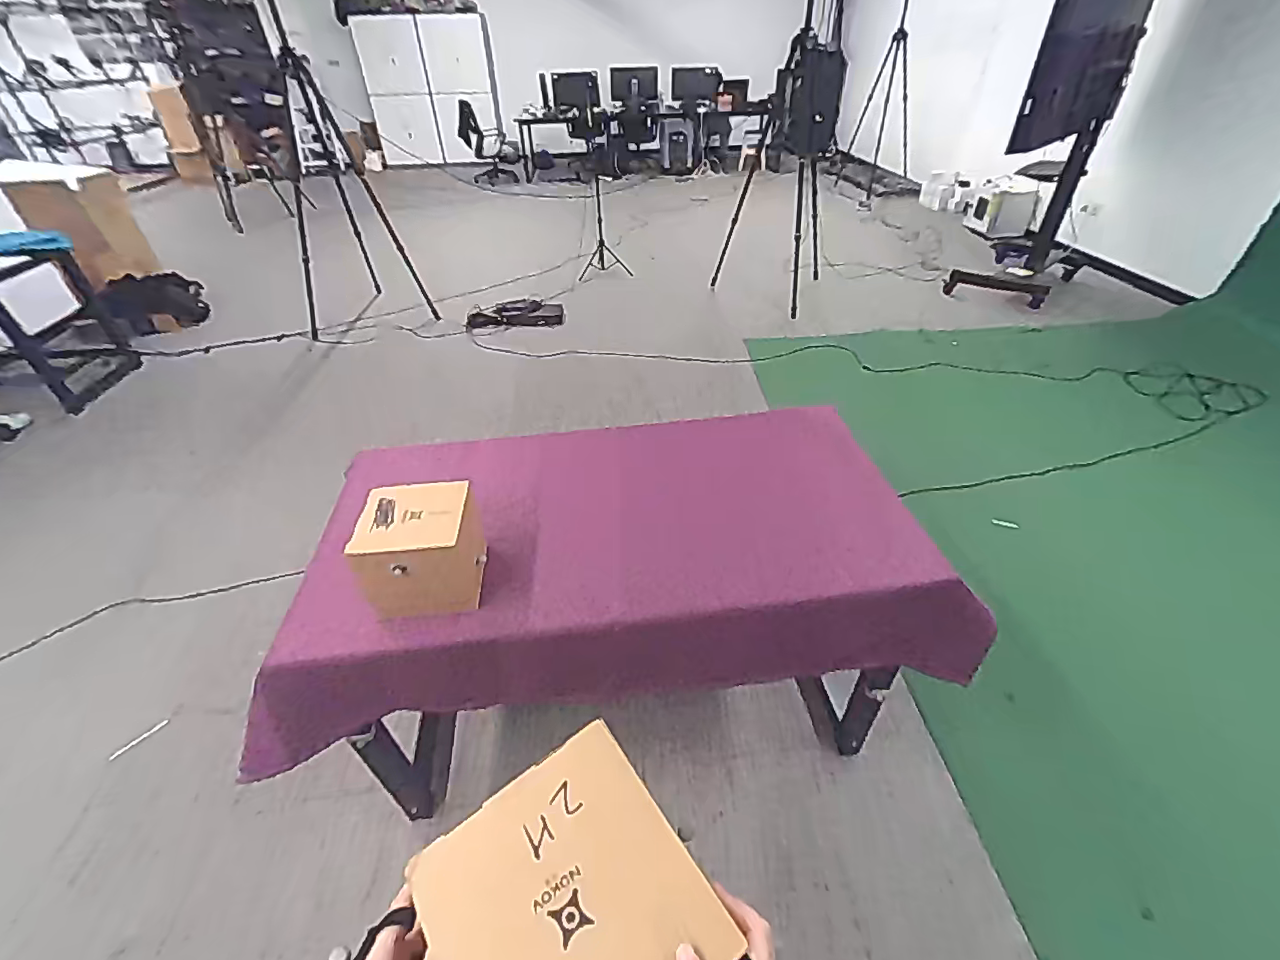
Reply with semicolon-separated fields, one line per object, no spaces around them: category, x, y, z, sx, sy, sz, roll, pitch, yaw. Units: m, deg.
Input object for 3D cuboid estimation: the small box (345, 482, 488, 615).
small box;-0.384;0.123;0.963;0.179;0.176;0.168;-4;39;-4
